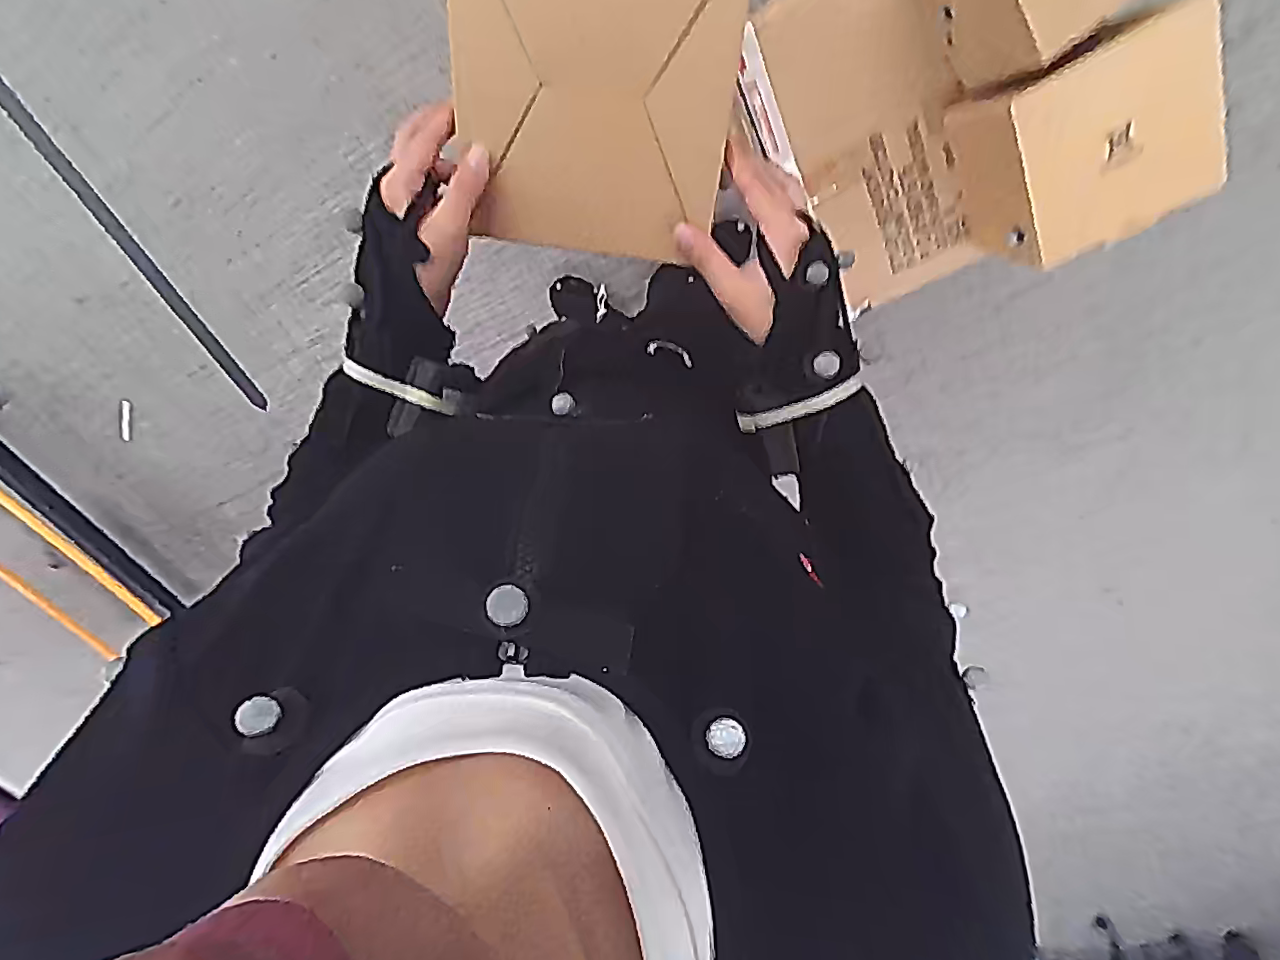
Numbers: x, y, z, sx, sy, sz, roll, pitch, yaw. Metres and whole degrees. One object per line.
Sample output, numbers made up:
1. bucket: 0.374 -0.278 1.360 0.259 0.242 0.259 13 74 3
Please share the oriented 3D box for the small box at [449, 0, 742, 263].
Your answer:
1. small box: -0.025 -0.264 0.389 0.168 0.176 0.179 7 123 0
